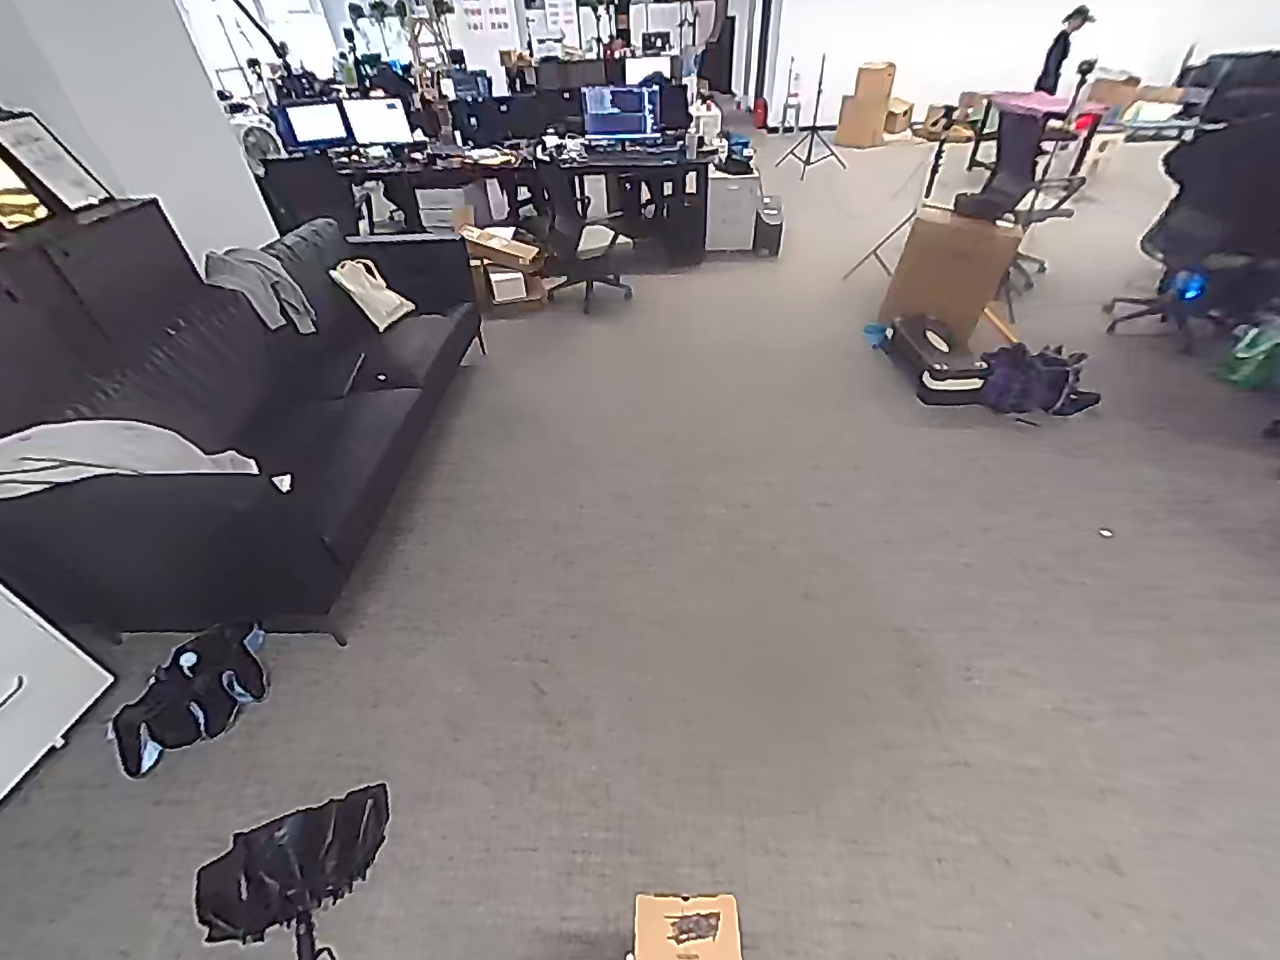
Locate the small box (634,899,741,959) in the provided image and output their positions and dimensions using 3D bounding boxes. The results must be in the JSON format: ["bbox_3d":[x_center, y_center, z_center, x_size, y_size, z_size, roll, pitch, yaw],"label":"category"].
[{"bbox_3d":[0.072,0.795,0.862,0.168,0.176,0.179,-1,43,2],"label":"small box"}]
